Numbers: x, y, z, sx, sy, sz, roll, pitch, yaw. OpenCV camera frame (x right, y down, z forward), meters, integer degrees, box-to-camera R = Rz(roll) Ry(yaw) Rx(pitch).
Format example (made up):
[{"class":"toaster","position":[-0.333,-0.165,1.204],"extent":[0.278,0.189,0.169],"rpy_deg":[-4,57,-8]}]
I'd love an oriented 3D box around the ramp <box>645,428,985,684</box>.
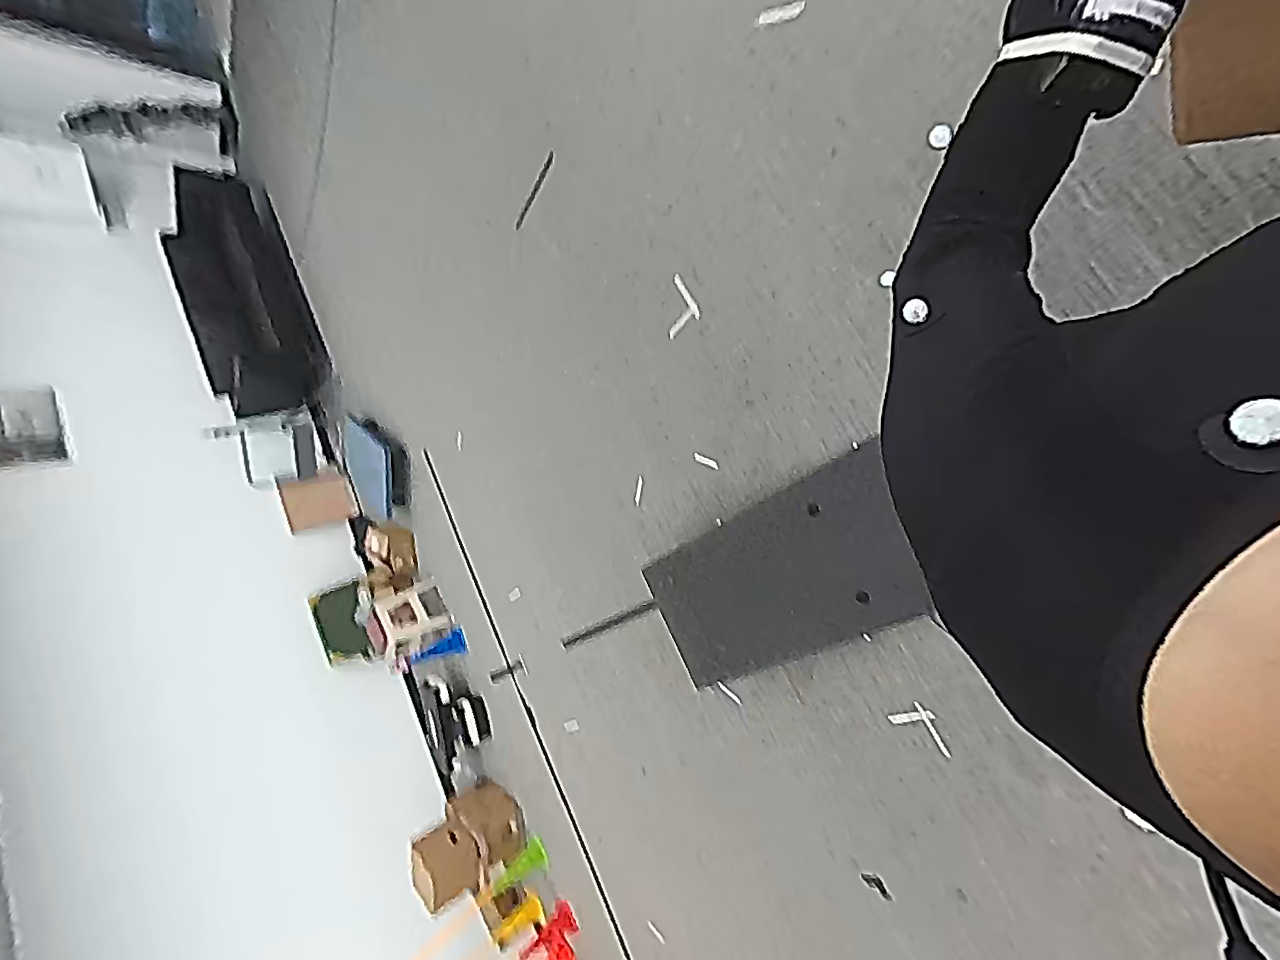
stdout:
[{"class":"ramp","position":[0.456,0.290,1.723],"extent":[0.991,0.206,0.509],"rpy_deg":[-41,70,44]}]

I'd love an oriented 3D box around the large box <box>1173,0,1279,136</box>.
[{"class":"large box","position":[0.561,-0.421,0.250],"extent":[0.408,0.320,0.320],"rpy_deg":[18,107,42]}]
